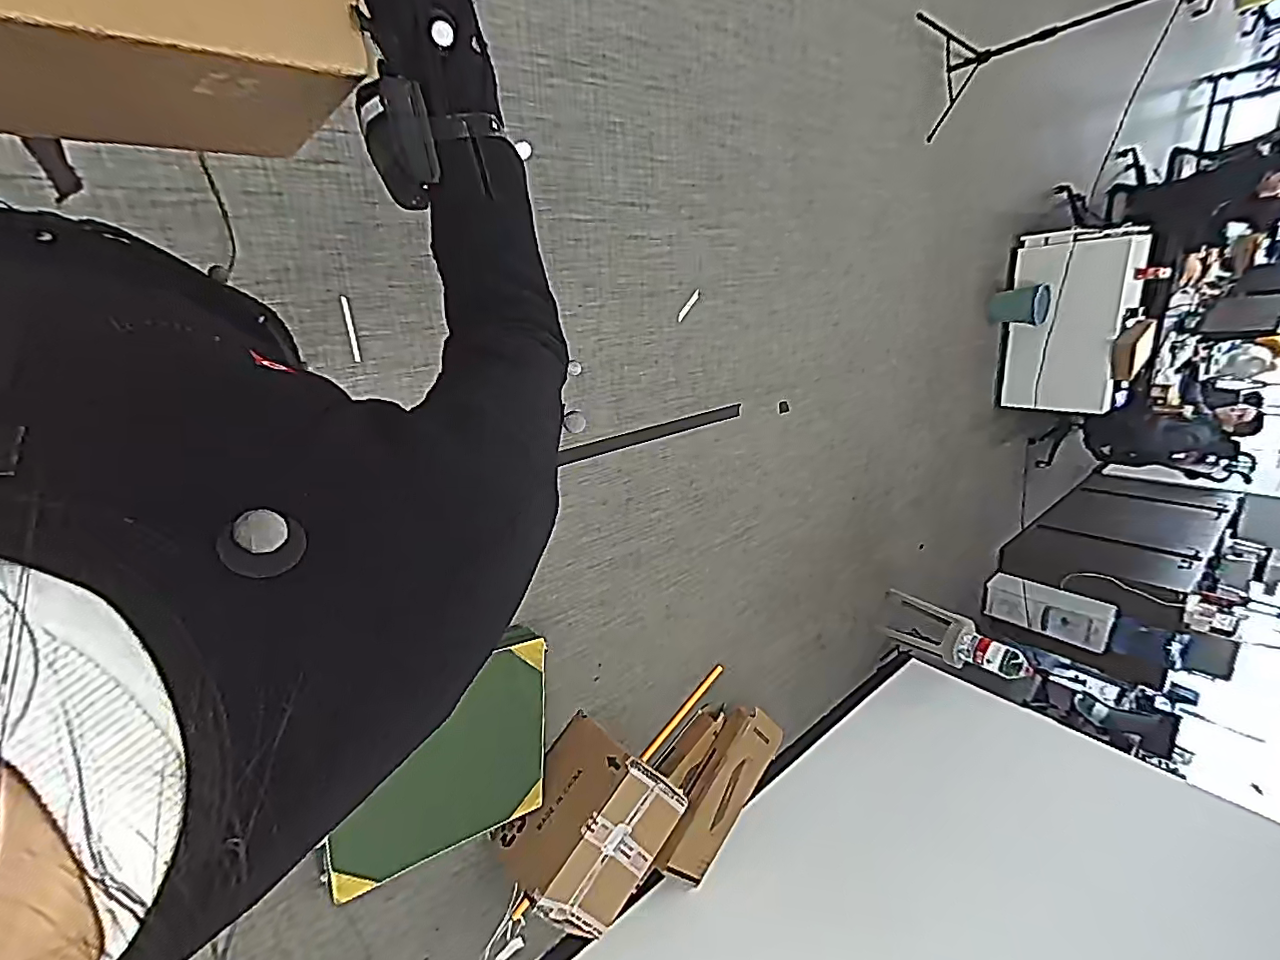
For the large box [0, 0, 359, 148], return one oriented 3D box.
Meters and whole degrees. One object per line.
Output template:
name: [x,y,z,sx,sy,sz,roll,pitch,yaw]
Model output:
large box: [-0.430,-0.386,0.277,0.408,0.320,0.320,-19,119,-36]
